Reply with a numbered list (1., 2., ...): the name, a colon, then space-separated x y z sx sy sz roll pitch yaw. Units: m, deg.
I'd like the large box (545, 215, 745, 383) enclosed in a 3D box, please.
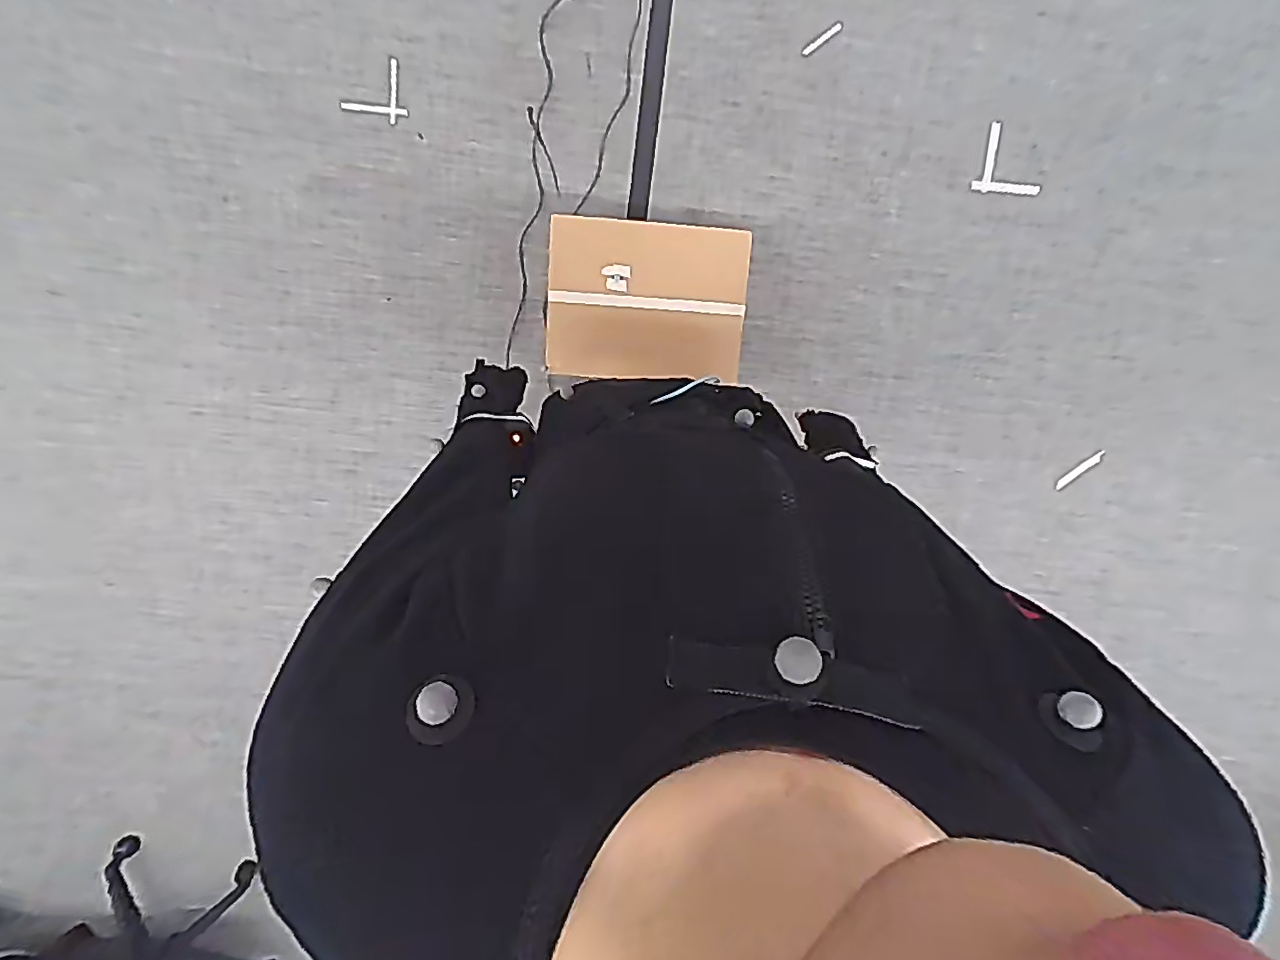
1. large box: 0.004 -0.399 1.256 0.408 0.320 0.320 4 101 -2
